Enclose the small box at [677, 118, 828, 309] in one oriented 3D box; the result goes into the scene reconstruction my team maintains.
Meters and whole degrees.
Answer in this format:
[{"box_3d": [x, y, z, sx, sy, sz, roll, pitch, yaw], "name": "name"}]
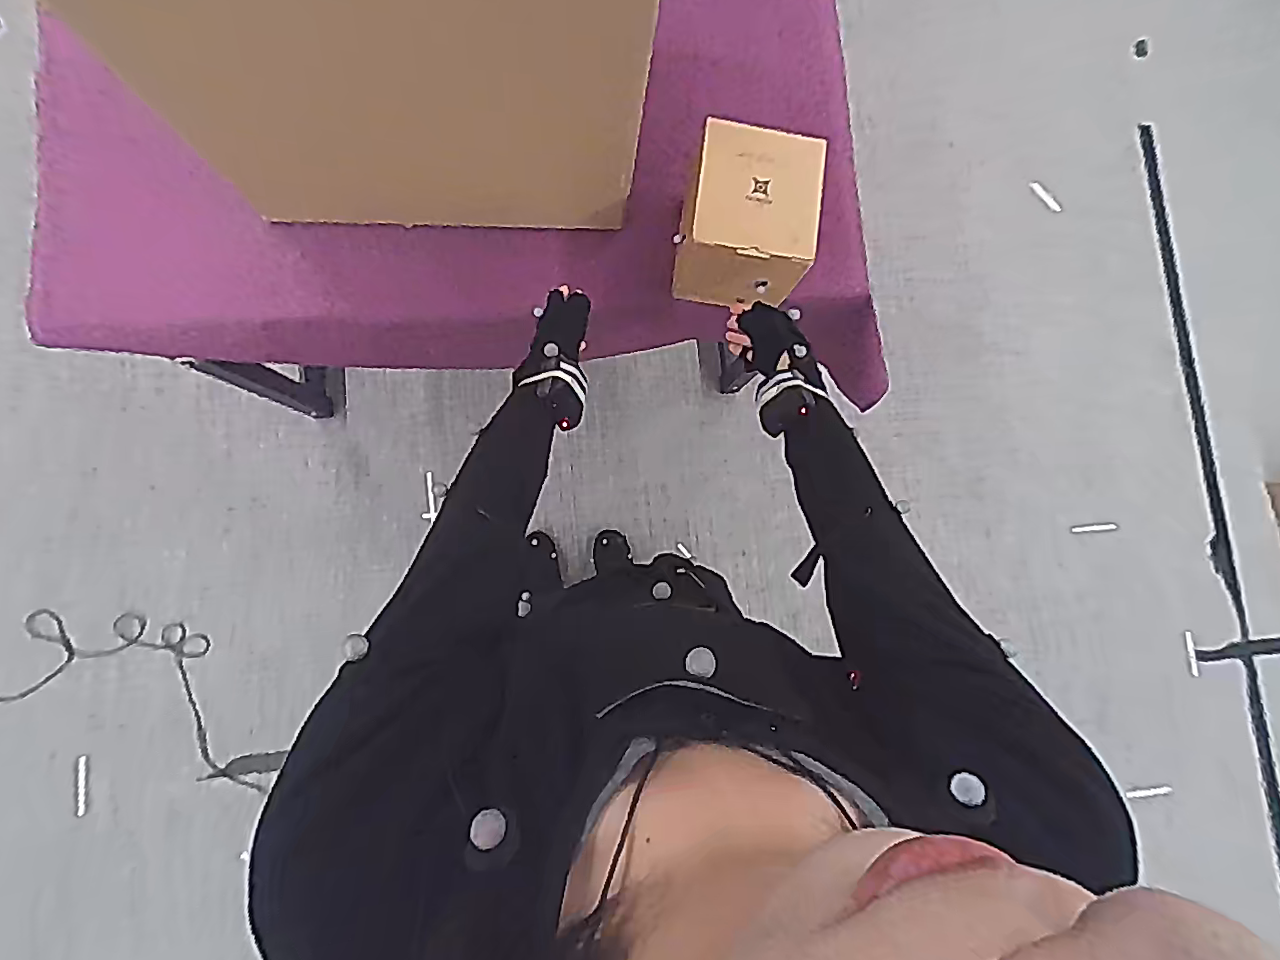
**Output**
[{"box_3d": [0.152, -0.369, 0.780, 0.168, 0.176, 0.179, 7, 82, -6], "name": "small box"}]
